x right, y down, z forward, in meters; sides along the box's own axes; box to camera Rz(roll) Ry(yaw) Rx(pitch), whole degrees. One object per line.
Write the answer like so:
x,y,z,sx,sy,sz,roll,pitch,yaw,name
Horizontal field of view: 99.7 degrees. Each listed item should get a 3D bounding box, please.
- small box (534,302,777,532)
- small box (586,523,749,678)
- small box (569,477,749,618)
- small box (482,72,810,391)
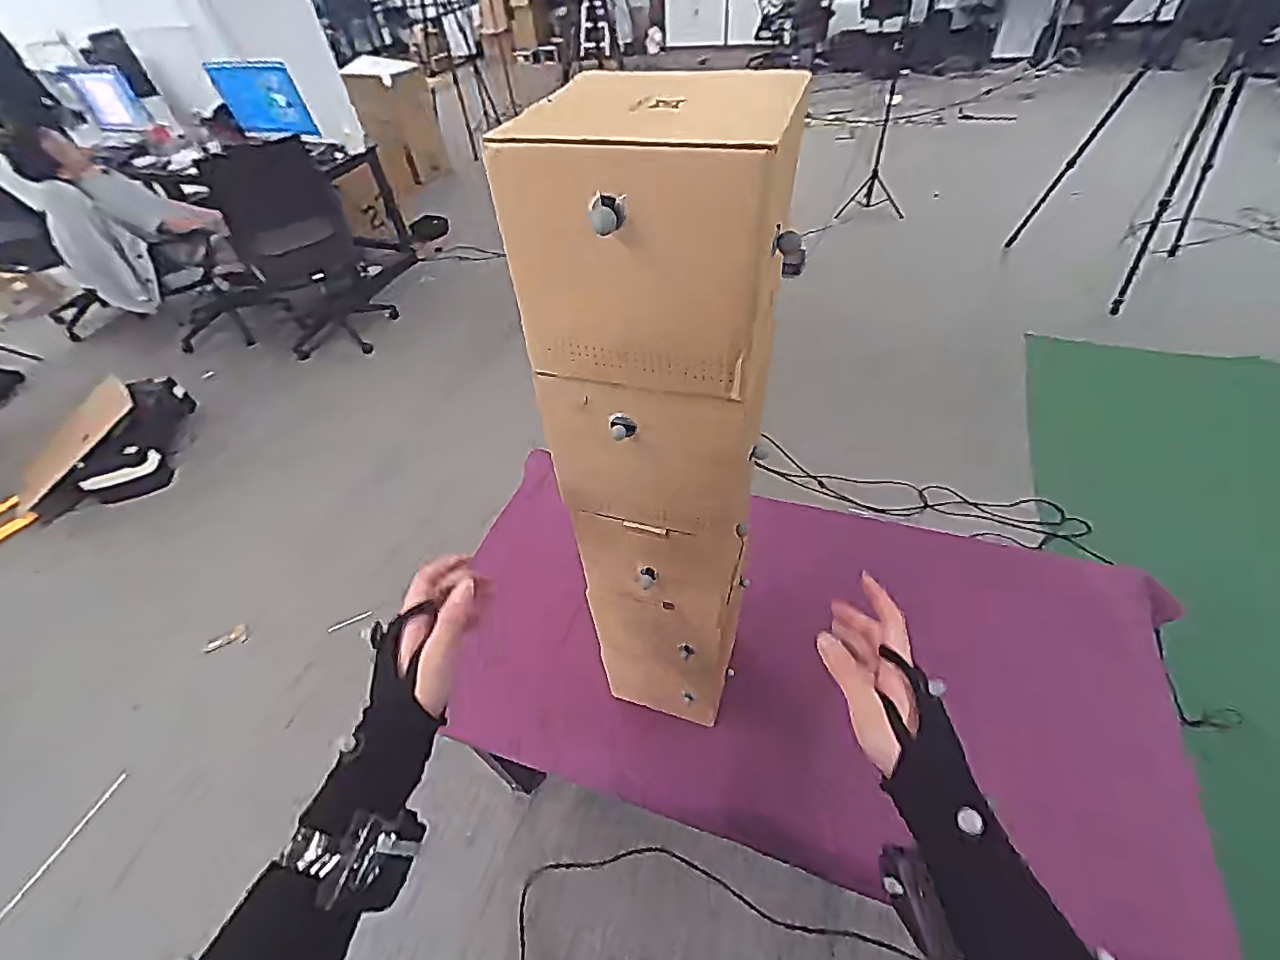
0.024,-0.071,0.524,0.179,0.176,0.168,11,48,14,small box
0.045,0.155,0.759,0.179,0.176,0.168,11,49,16,small box
0.035,0.039,0.645,0.168,0.176,0.179,11,49,15,small box
0.018,-0.184,0.407,0.179,0.176,0.168,10,48,16,small box
